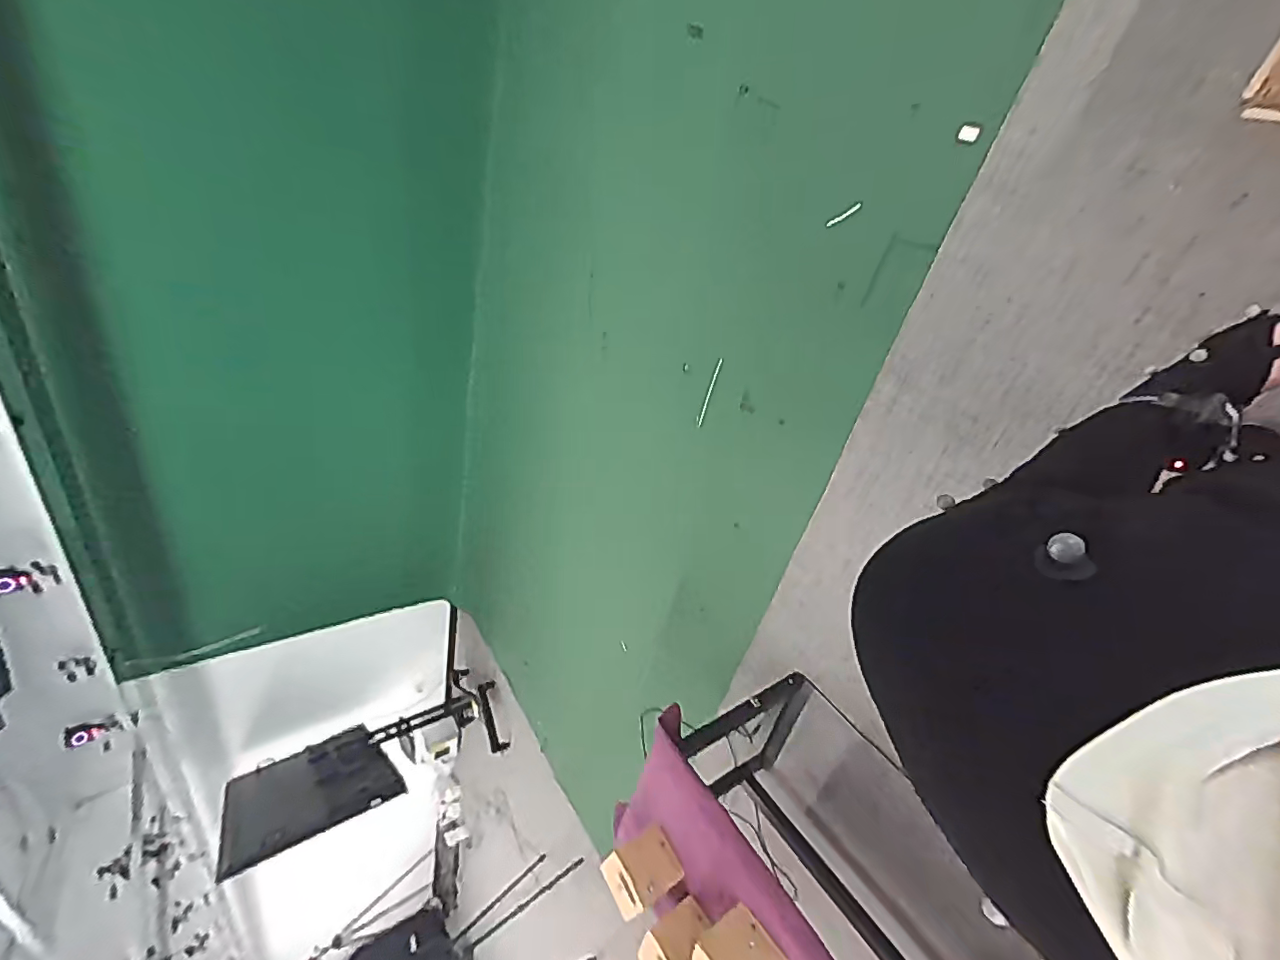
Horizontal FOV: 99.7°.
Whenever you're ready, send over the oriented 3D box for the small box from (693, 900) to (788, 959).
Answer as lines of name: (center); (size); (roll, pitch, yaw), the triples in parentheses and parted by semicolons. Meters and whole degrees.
small box: (0.252, 1.234, 1.372); (0.168, 0.176, 0.179); (33, 124, 44)
